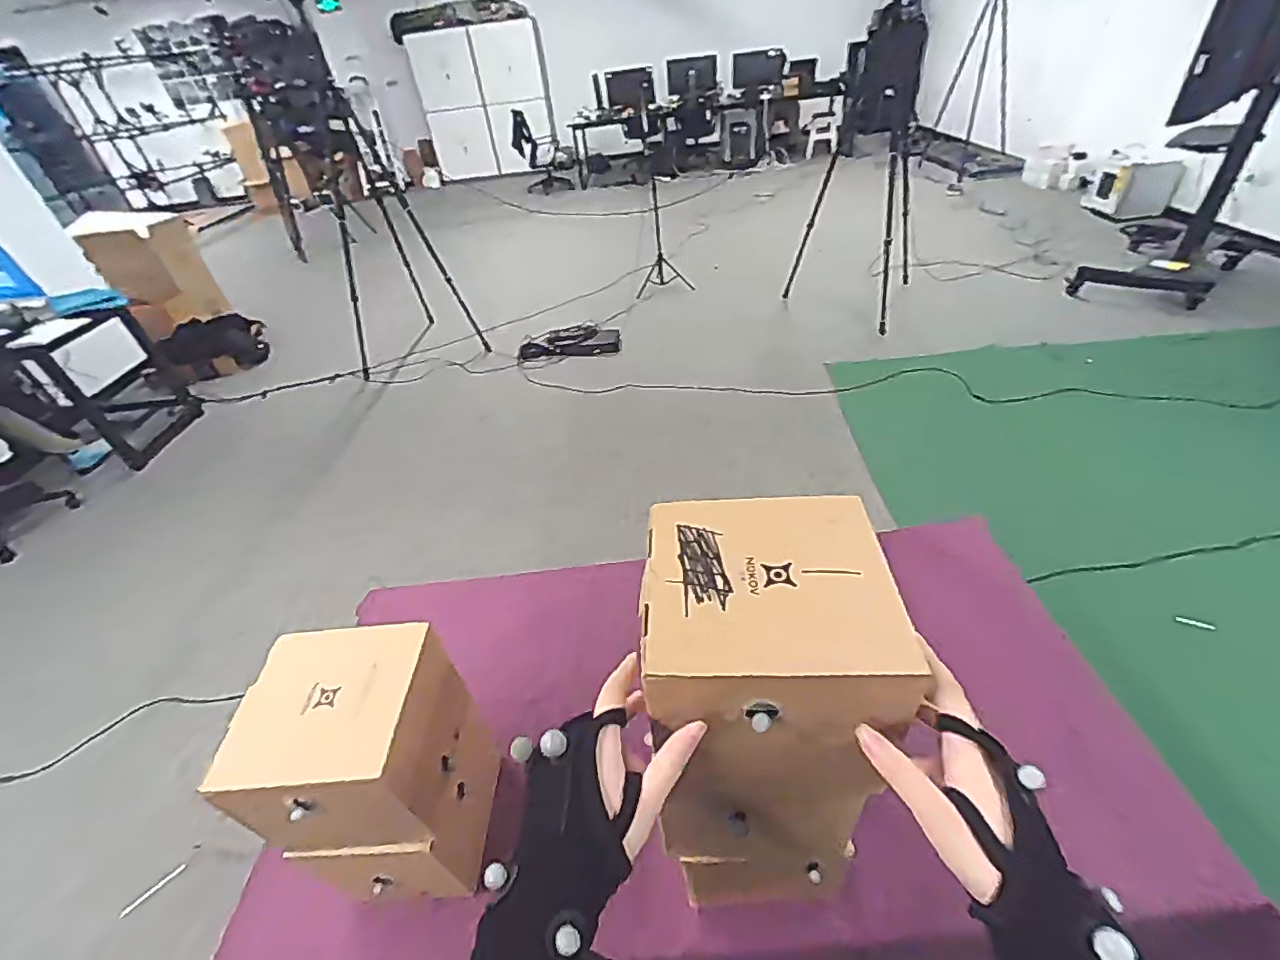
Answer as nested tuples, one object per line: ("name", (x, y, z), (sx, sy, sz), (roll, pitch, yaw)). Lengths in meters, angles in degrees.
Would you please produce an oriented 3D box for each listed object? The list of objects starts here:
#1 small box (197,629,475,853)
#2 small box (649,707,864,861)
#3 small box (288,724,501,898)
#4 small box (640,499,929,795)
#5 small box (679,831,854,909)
("small box", (-0.303, 0.285, 0.587), (0.179, 0.176, 0.168), (-5, 40, 3))
("small box", (0.108, 0.261, 0.542), (0.179, 0.176, 0.168), (-4, 39, 7))
("small box", (-0.290, 0.410, 0.690), (0.168, 0.176, 0.179), (-5, 39, 4))
("small box", (0.099, 0.134, 0.436), (0.179, 0.176, 0.168), (-3, 39, 6))
("small box", (0.134, 0.387, 0.644), (0.179, 0.176, 0.168), (-6, 39, 3))
